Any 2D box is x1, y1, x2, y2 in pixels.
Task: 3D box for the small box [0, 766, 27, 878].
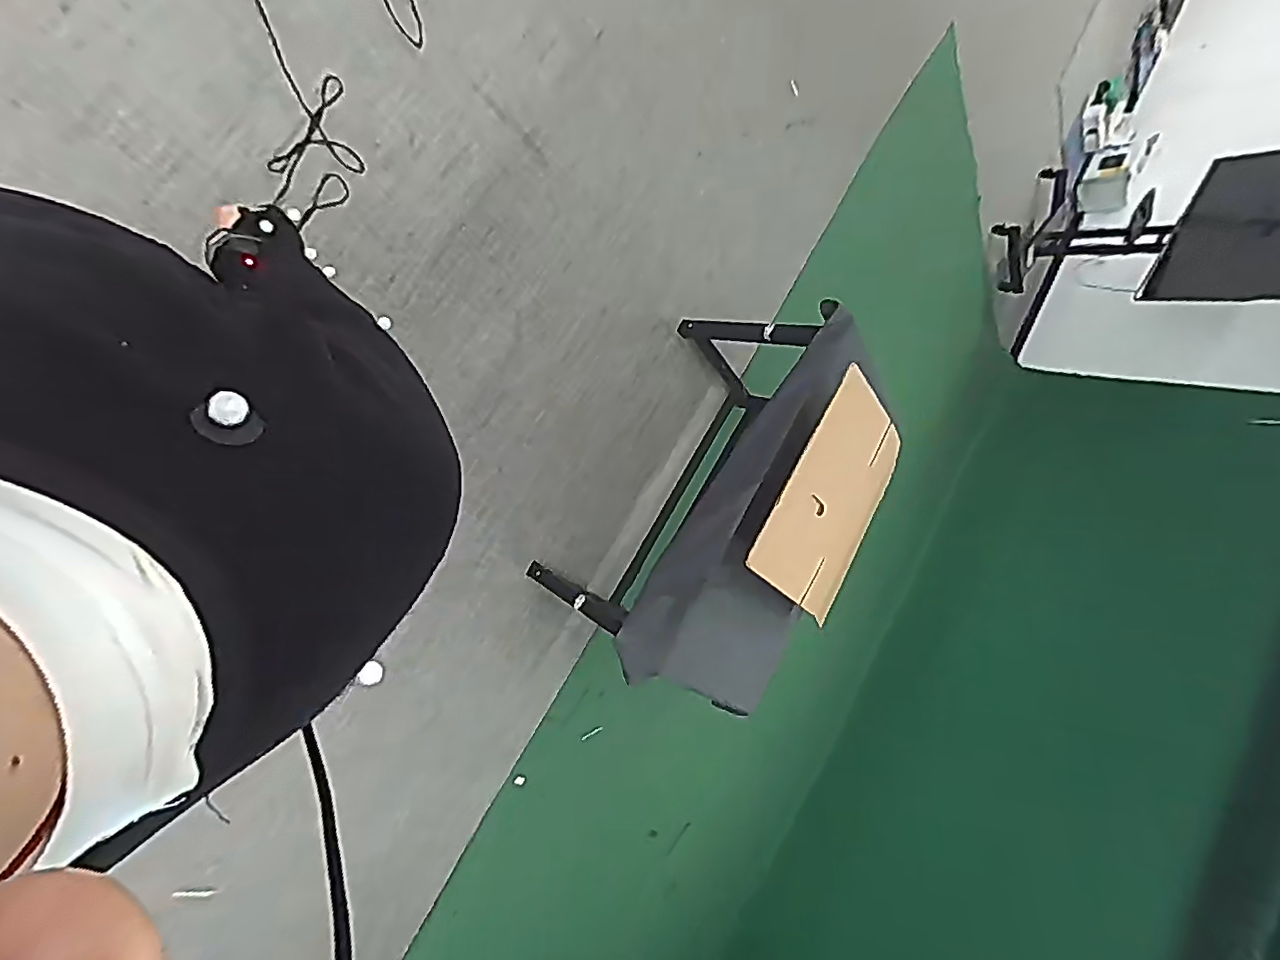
[{"bbox_3d":[-0.887,0.454,0.636,0.168,0.176,0.179,41,76,-45],"label":"small box"}]
